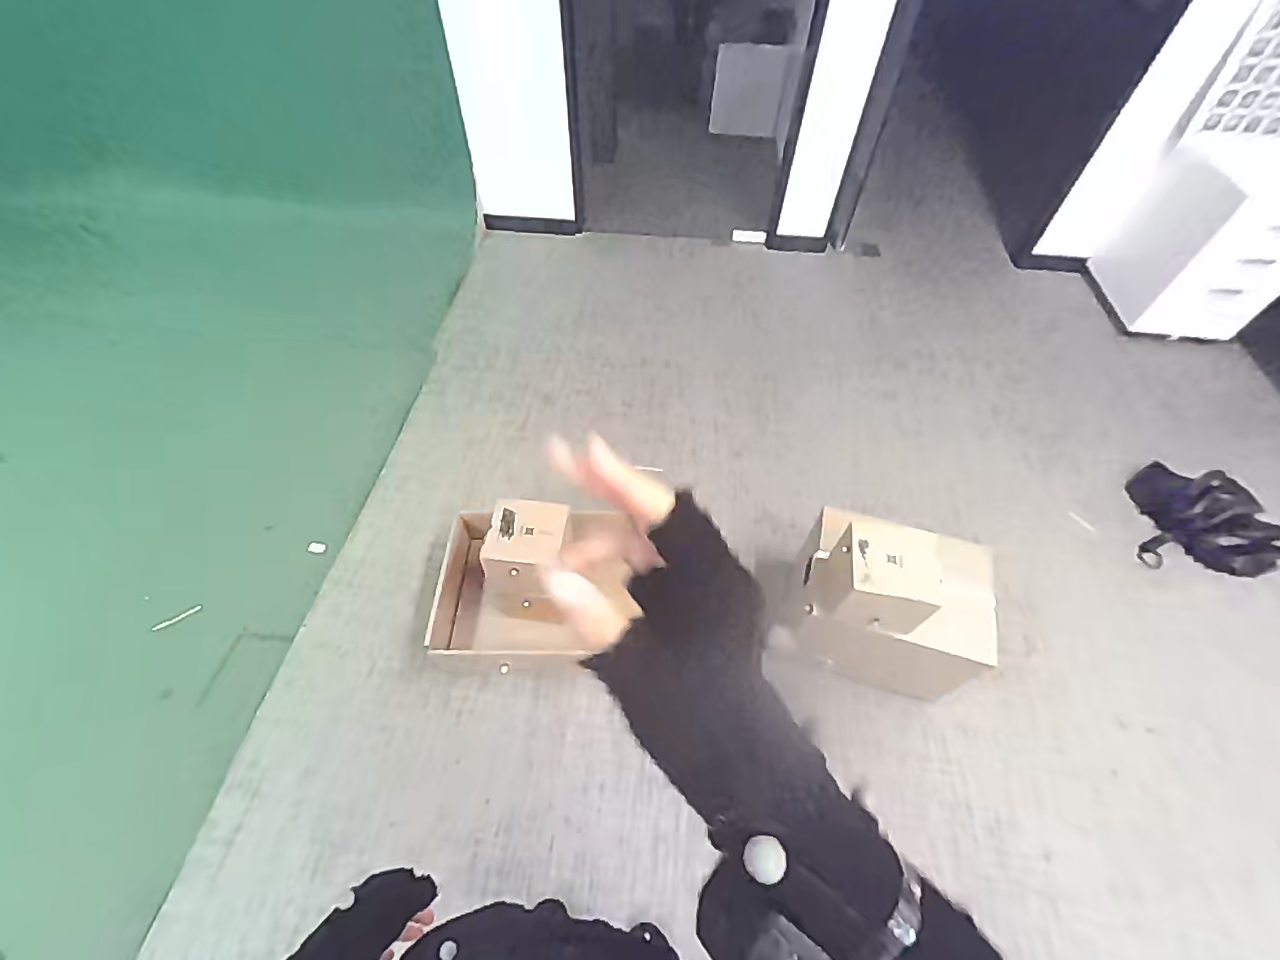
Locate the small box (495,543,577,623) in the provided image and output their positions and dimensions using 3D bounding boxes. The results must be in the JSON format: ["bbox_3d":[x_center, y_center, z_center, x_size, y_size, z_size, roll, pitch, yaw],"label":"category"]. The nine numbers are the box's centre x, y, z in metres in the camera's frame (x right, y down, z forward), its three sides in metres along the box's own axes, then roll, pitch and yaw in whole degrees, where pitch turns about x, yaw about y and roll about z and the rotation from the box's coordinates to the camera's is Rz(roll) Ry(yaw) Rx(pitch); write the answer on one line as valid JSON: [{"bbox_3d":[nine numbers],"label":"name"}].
[{"bbox_3d":[-0.270,0.268,1.444,0.179,0.176,0.168,7,54,0],"label":"small box"}]

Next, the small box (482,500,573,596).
[{"bbox_3d":[-0.265,0.168,1.313,0.179,0.176,0.168,7,54,0],"label":"small box"}]

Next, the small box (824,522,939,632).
[{"bbox_3d":[0.516,0.217,1.177,0.179,0.176,0.168,10,55,5],"label":"small box"}]
